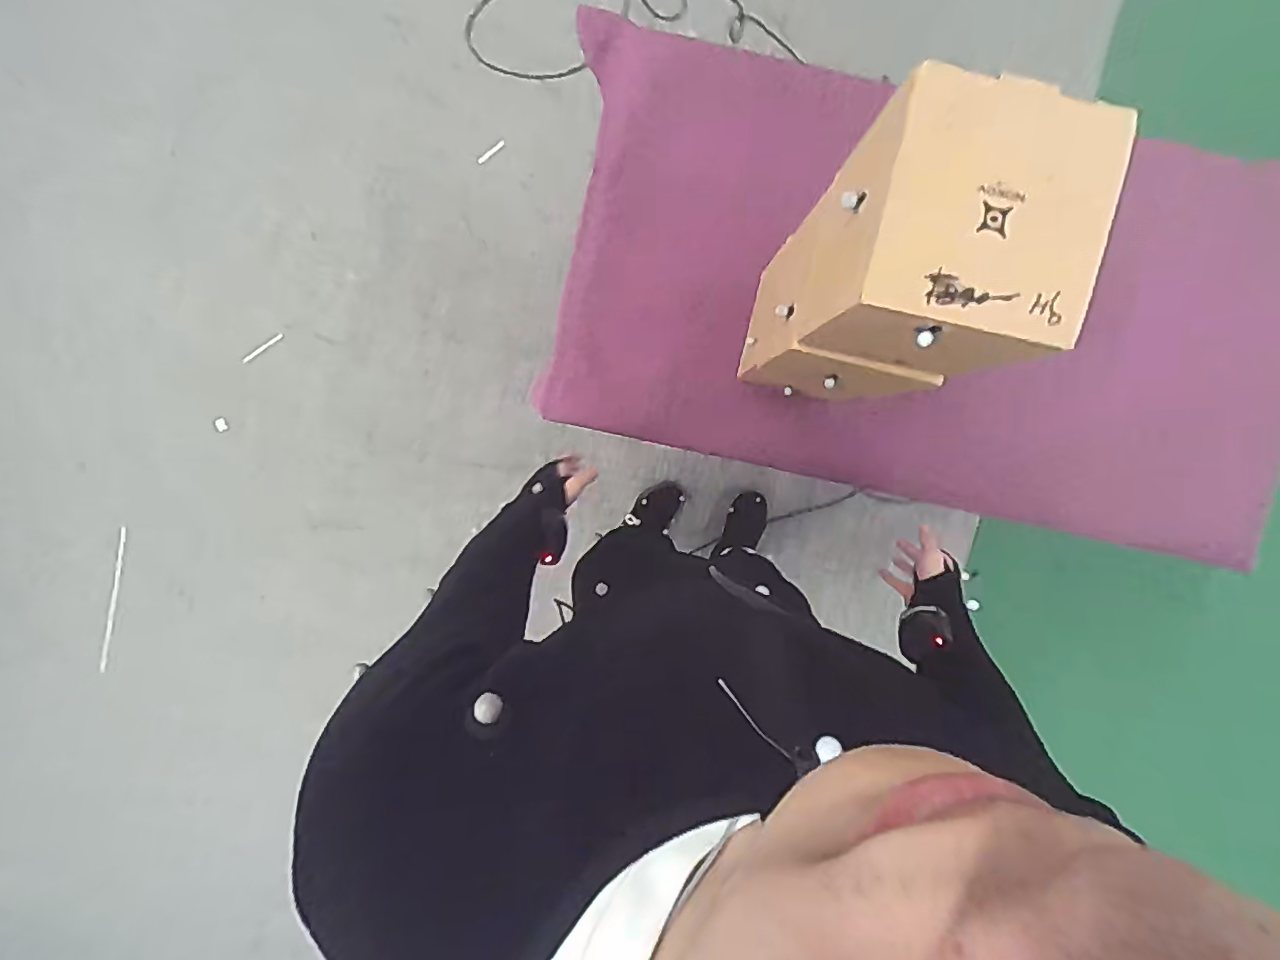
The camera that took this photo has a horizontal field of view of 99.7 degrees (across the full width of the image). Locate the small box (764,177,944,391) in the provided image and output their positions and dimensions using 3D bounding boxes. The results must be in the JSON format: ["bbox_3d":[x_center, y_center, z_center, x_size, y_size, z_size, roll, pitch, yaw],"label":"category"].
[{"bbox_3d":[0.254,-0.208,0.628,0.168,0.176,0.179,14,94,-1],"label":"small box"}]

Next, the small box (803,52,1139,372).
[{"bbox_3d":[0.255,-0.204,0.464,0.168,0.176,0.179,12,94,0],"label":"small box"}]
